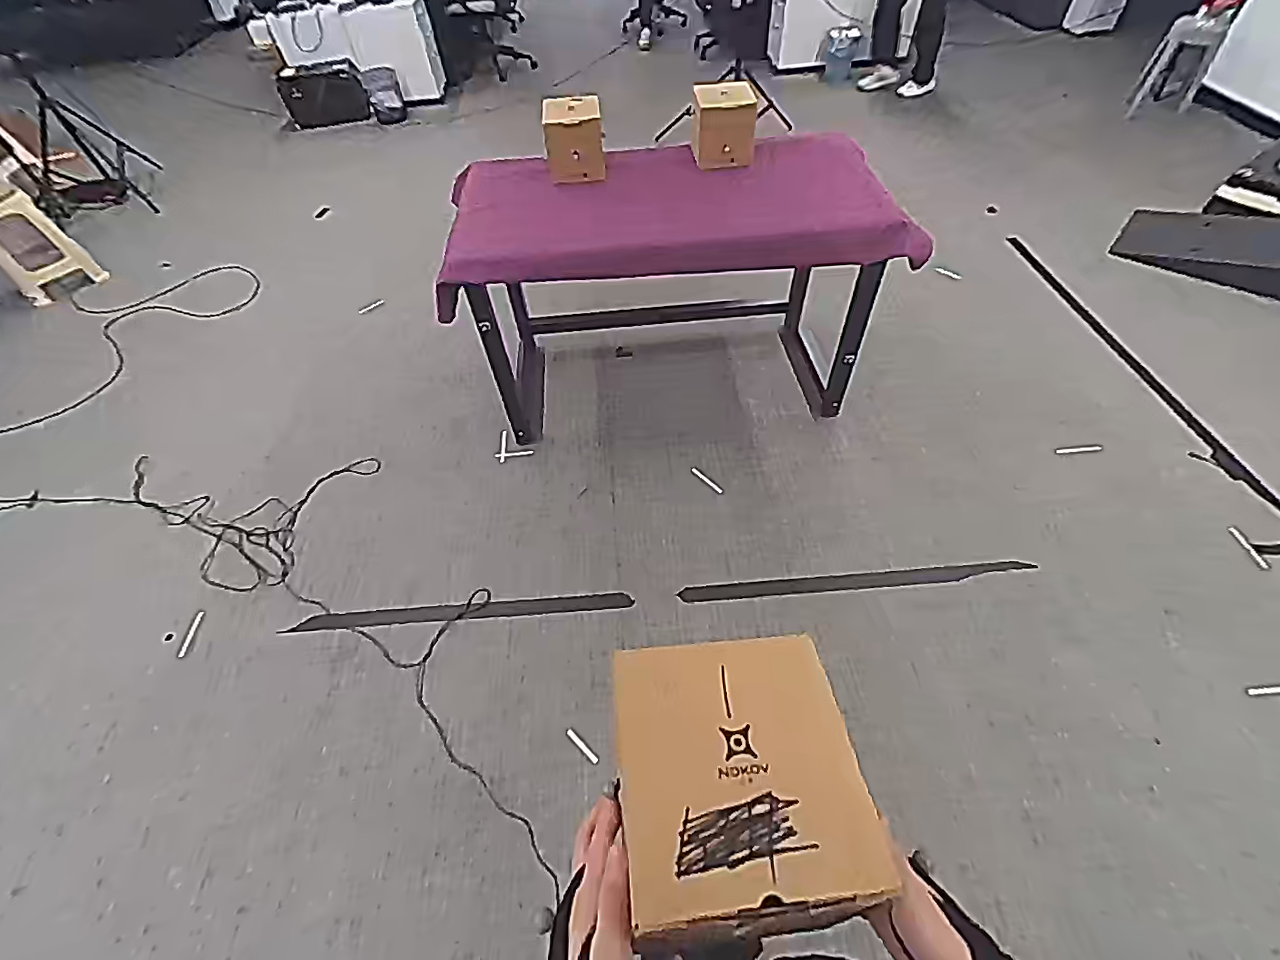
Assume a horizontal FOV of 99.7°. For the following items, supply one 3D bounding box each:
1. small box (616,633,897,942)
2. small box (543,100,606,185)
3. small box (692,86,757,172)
[{"bbox_3d":[0.069,0.248,0.436,0.168,0.176,0.179,-3,44,-5],"label":"small box"},{"bbox_3d":[-0.196,-1.013,1.633,0.168,0.176,0.179,-6,54,-1],"label":"small box"},{"bbox_3d":[0.249,-1.066,1.644,0.168,0.176,0.179,-6,53,0],"label":"small box"}]
